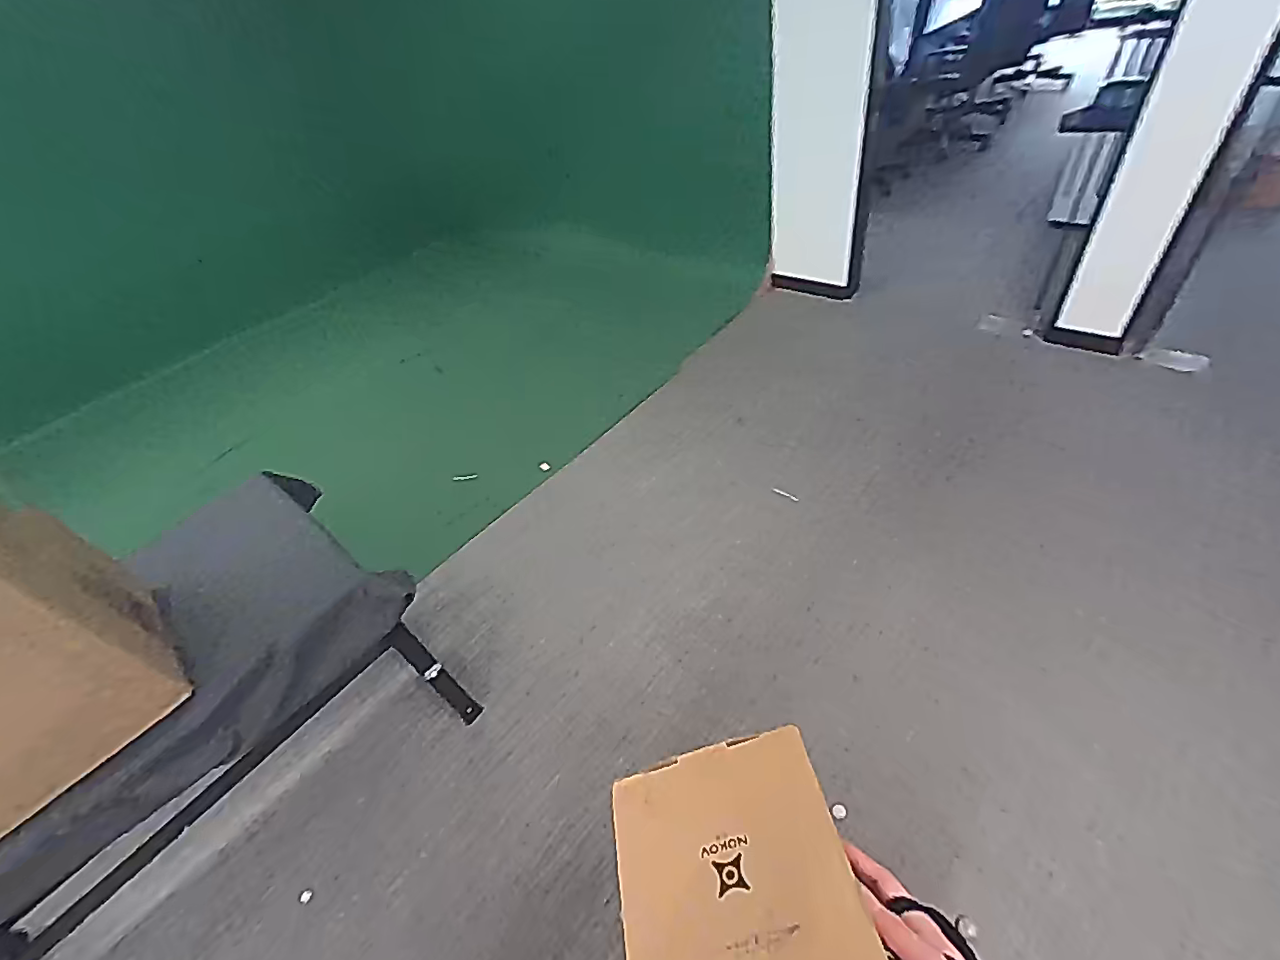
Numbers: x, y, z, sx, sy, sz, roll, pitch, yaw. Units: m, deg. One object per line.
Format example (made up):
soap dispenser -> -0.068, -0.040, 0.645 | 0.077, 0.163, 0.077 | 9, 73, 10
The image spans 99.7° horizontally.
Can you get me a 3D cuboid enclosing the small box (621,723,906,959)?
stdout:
small box -> 0.097, 0.336, 0.428 | 0.168, 0.176, 0.179 | -21, 34, 3
